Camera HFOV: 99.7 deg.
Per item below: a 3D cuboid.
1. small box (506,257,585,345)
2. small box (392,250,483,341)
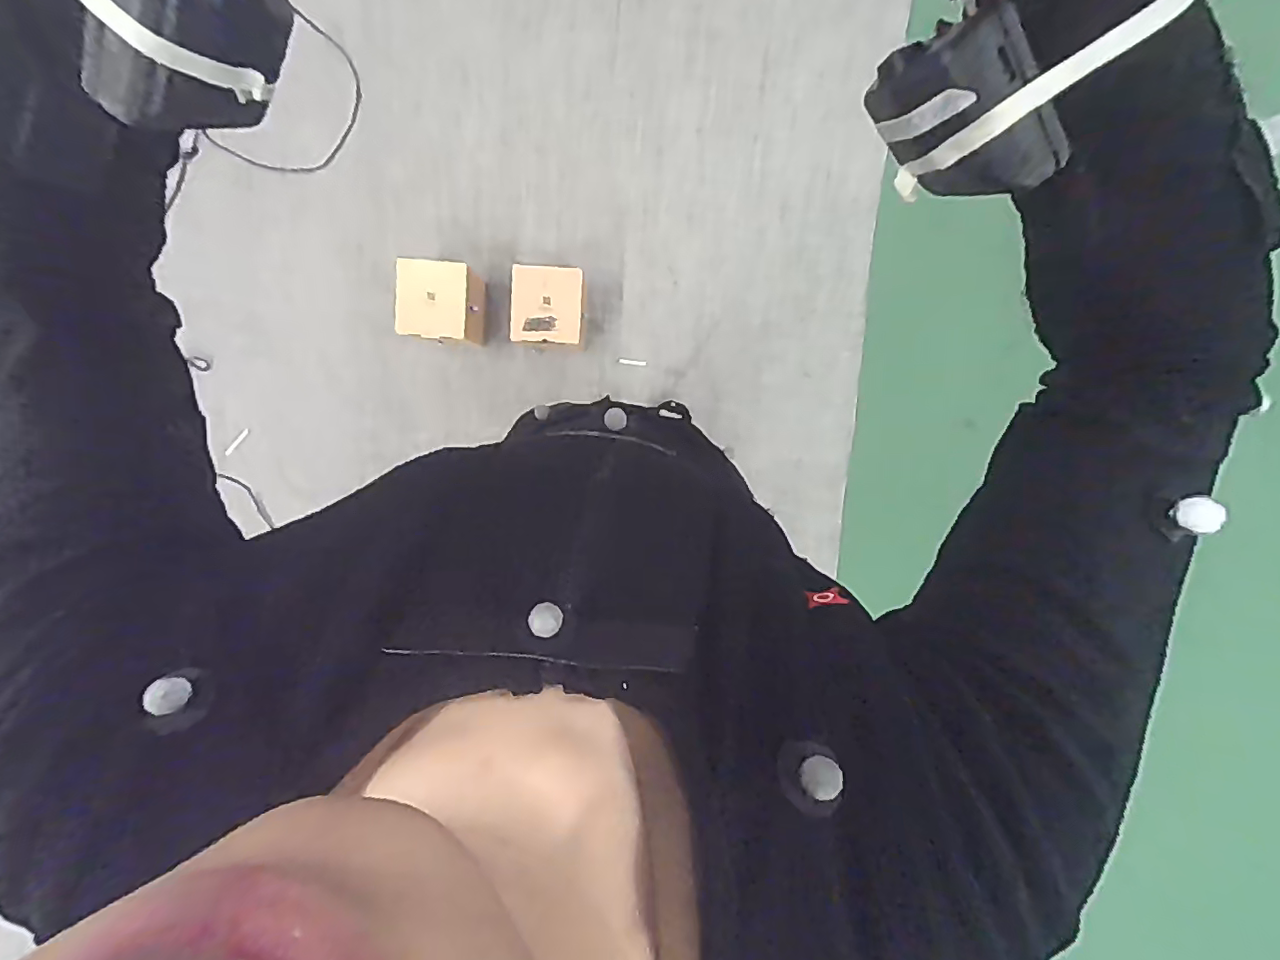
[{"bbox_3d":[-0.228,-0.434,1.336,0.168,0.176,0.179,4,97,-1],"label":"small box"},{"bbox_3d":[-0.494,-0.448,1.335,0.168,0.176,0.179,4,98,0],"label":"small box"}]
